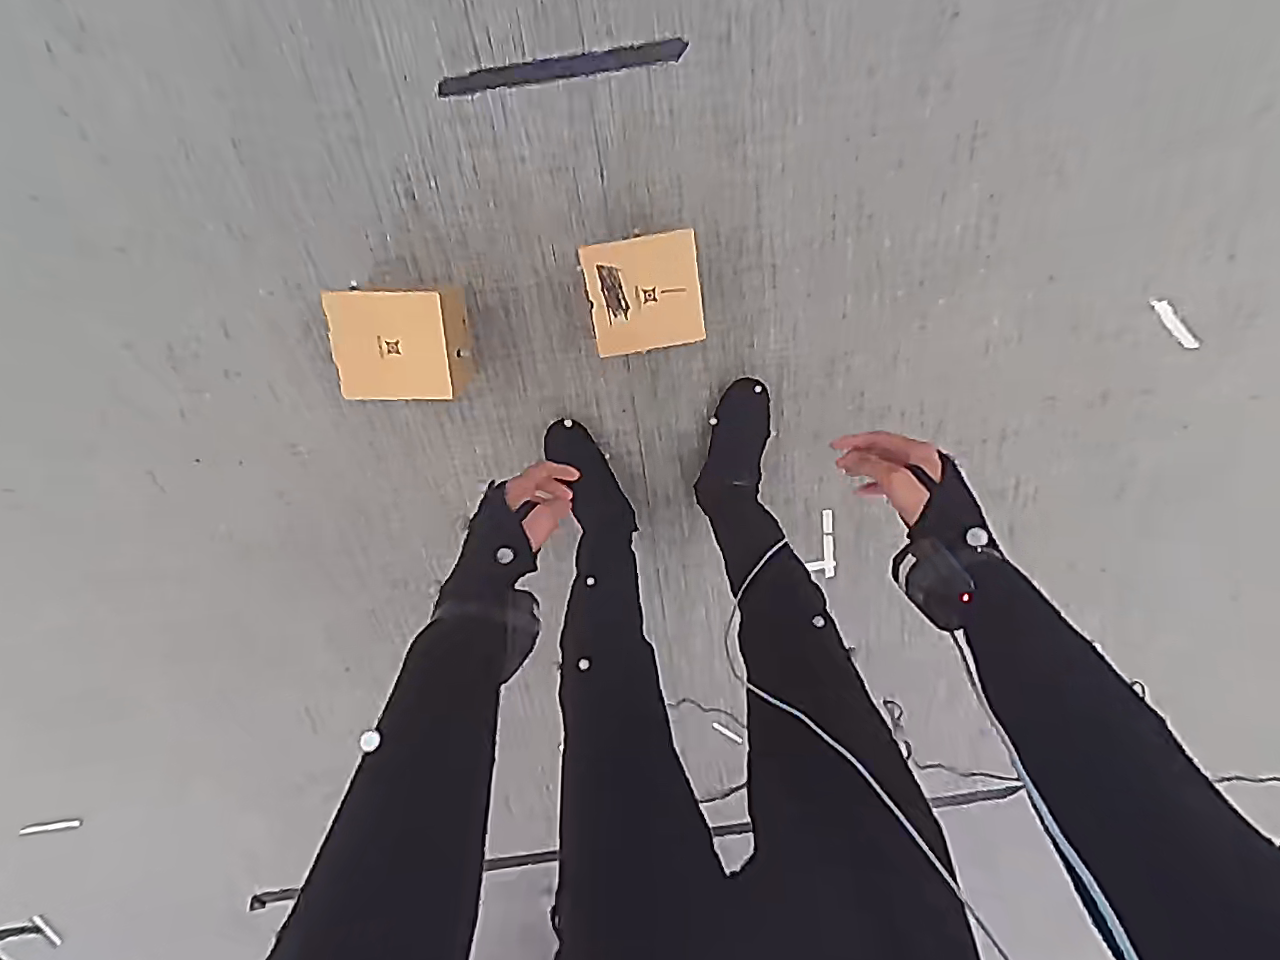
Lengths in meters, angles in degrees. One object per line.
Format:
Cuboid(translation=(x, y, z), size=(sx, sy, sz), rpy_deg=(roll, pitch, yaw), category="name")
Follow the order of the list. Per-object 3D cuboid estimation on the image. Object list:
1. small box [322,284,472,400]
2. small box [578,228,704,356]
Cuboid(translation=(-0.388, -0.236, 0.904), size=(0.179, 0.176, 0.168), rpy_deg=(-1, 114, -3), category="small box")
Cuboid(translation=(0.001, -0.313, 0.896), size=(0.179, 0.176, 0.168), rpy_deg=(-10, 114, -1), category="small box")
